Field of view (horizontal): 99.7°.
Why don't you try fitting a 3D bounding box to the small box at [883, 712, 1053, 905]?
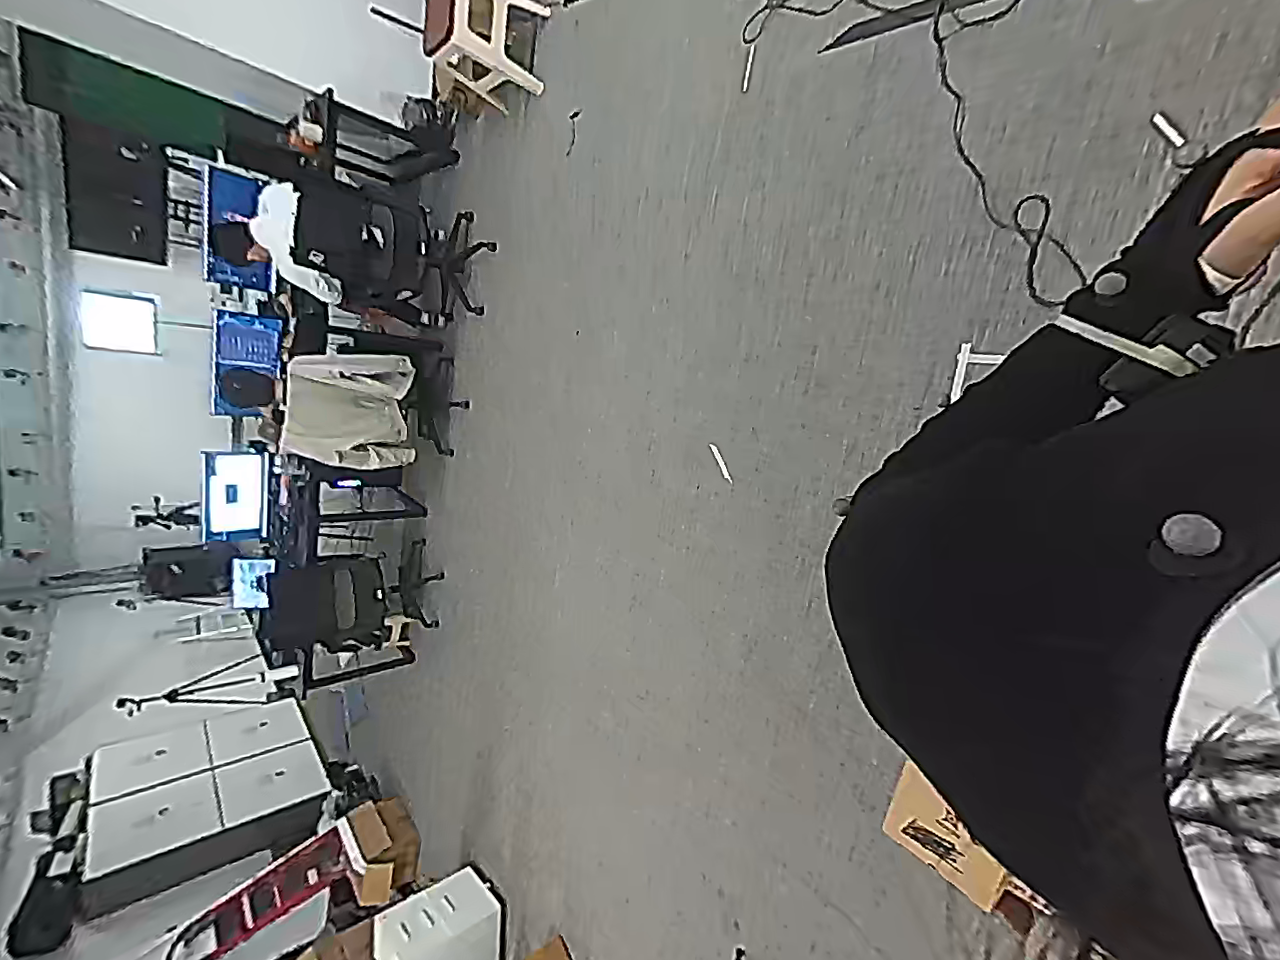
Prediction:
[{"bbox_3d":[0.531,0.513,0.873,0.168,0.176,0.179,25,107,46],"label":"small box"}]
